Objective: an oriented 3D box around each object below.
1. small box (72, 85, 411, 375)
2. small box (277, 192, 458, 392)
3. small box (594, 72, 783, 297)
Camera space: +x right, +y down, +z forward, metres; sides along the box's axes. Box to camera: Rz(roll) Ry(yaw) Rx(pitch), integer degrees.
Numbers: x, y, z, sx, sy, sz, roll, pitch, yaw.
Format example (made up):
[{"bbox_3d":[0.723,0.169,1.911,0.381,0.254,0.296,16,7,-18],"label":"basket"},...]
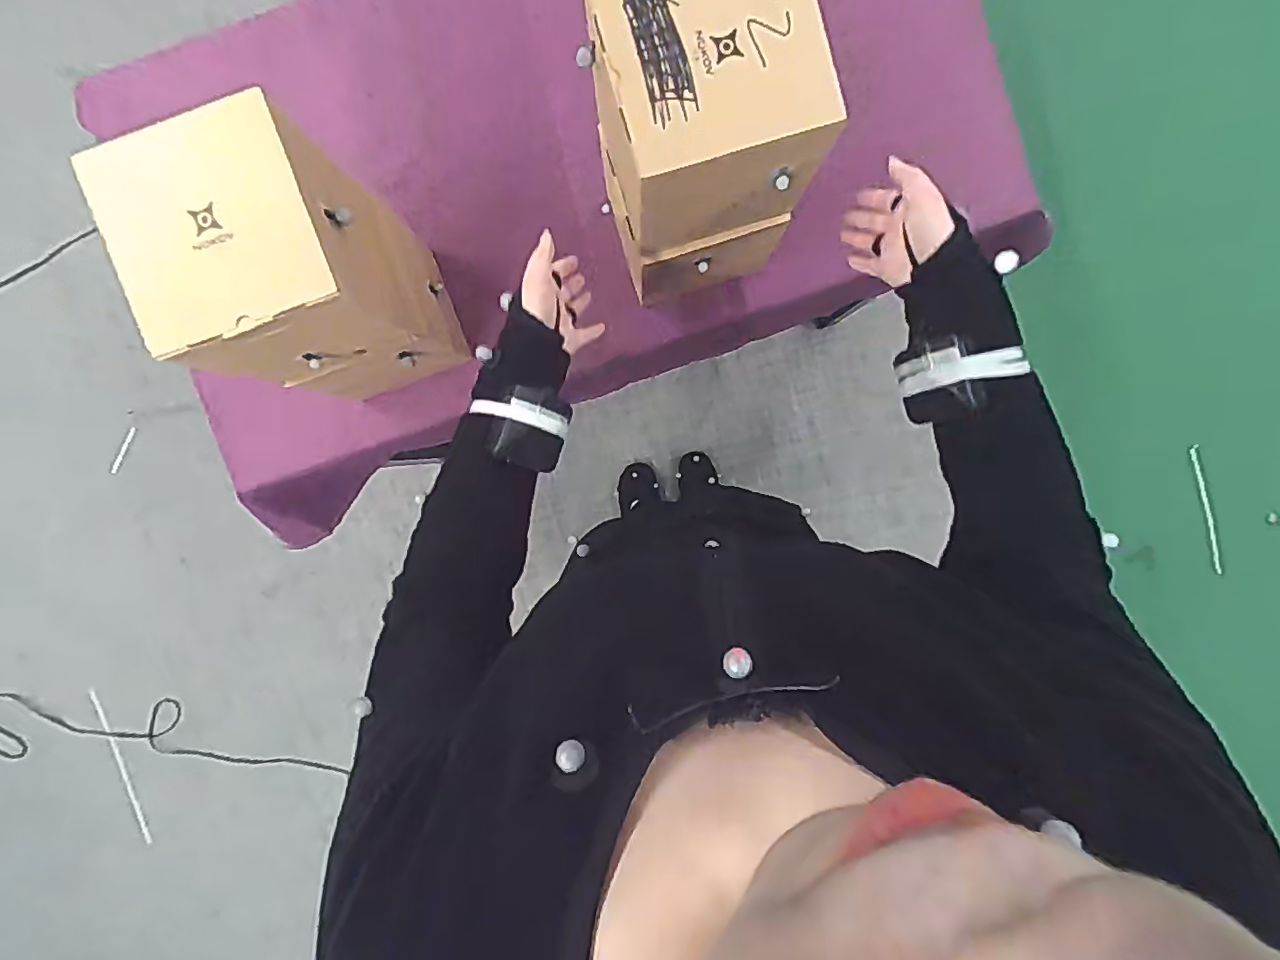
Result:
[{"bbox_3d":[-0.353,-0.216,0.518,0.168,0.176,0.179,-20,94,1],"label":"small box"},{"bbox_3d":[-0.349,-0.221,0.682,0.179,0.176,0.168,-19,93,1],"label":"small box"},{"bbox_3d":[0.055,-0.348,0.674,0.179,0.176,0.168,-17,93,1],"label":"small box"}]
